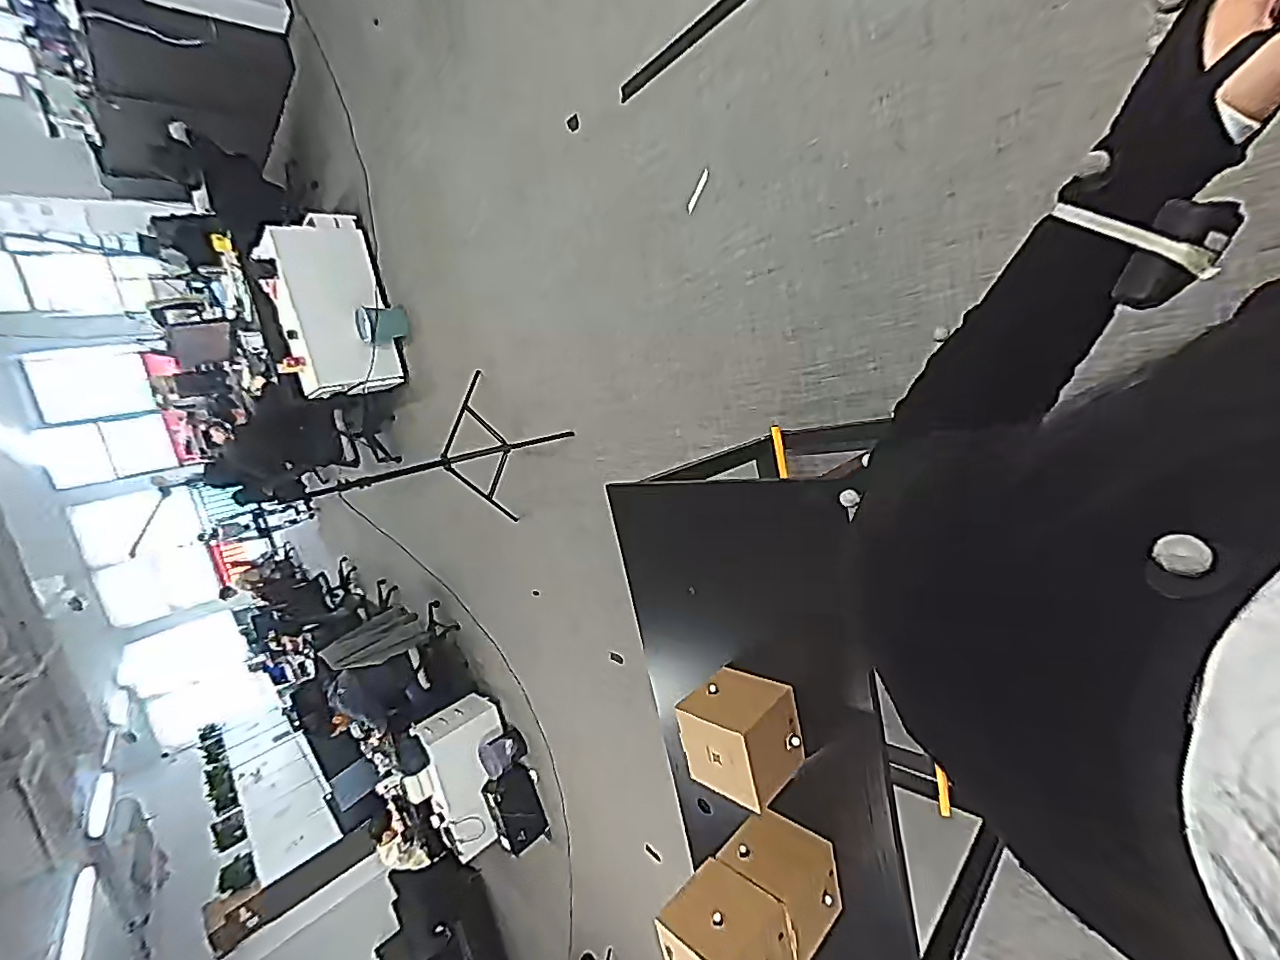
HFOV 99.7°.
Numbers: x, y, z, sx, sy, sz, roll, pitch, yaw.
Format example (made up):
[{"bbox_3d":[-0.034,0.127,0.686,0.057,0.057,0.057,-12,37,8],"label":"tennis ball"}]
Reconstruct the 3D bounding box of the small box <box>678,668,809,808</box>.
[{"bbox_3d":[0.207,0.500,1.080,0.179,0.176,0.168,-4,104,49],"label":"small box"}]

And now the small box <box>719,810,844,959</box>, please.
[{"bbox_3d":[0.292,0.825,1.114,0.179,0.176,0.168,0,106,49],"label":"small box"}]

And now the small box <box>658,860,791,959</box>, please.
[{"bbox_3d":[0.167,0.871,1.017,0.179,0.176,0.168,-4,102,49],"label":"small box"}]
